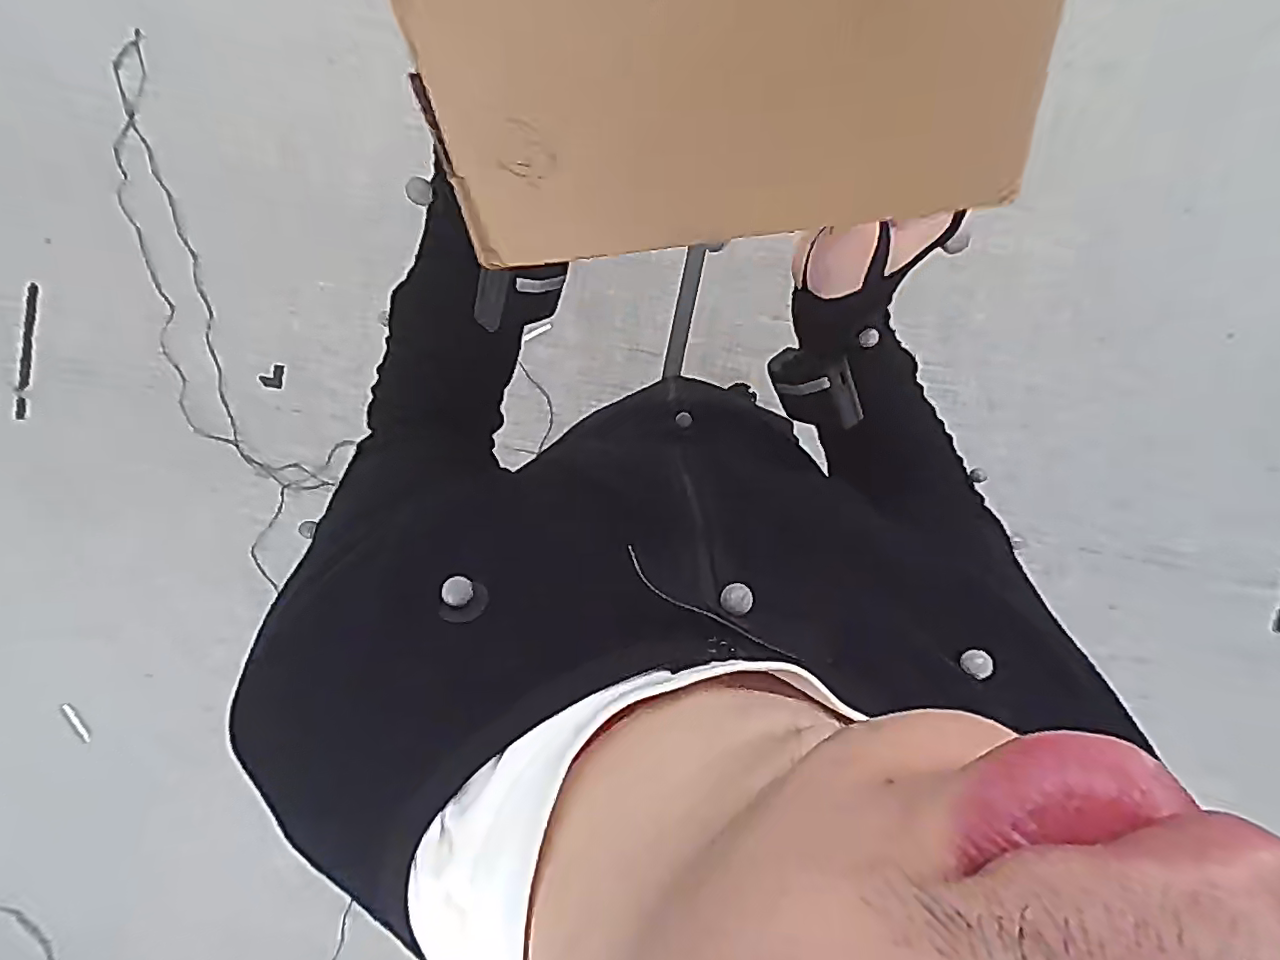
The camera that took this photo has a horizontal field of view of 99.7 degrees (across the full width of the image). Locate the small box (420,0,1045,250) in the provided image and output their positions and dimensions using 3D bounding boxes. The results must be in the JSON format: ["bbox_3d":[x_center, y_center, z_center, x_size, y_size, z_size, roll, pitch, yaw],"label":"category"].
[{"bbox_3d":[0.028,-0.204,0.200,0.179,0.176,0.168,-4,129,13],"label":"small box"}]
